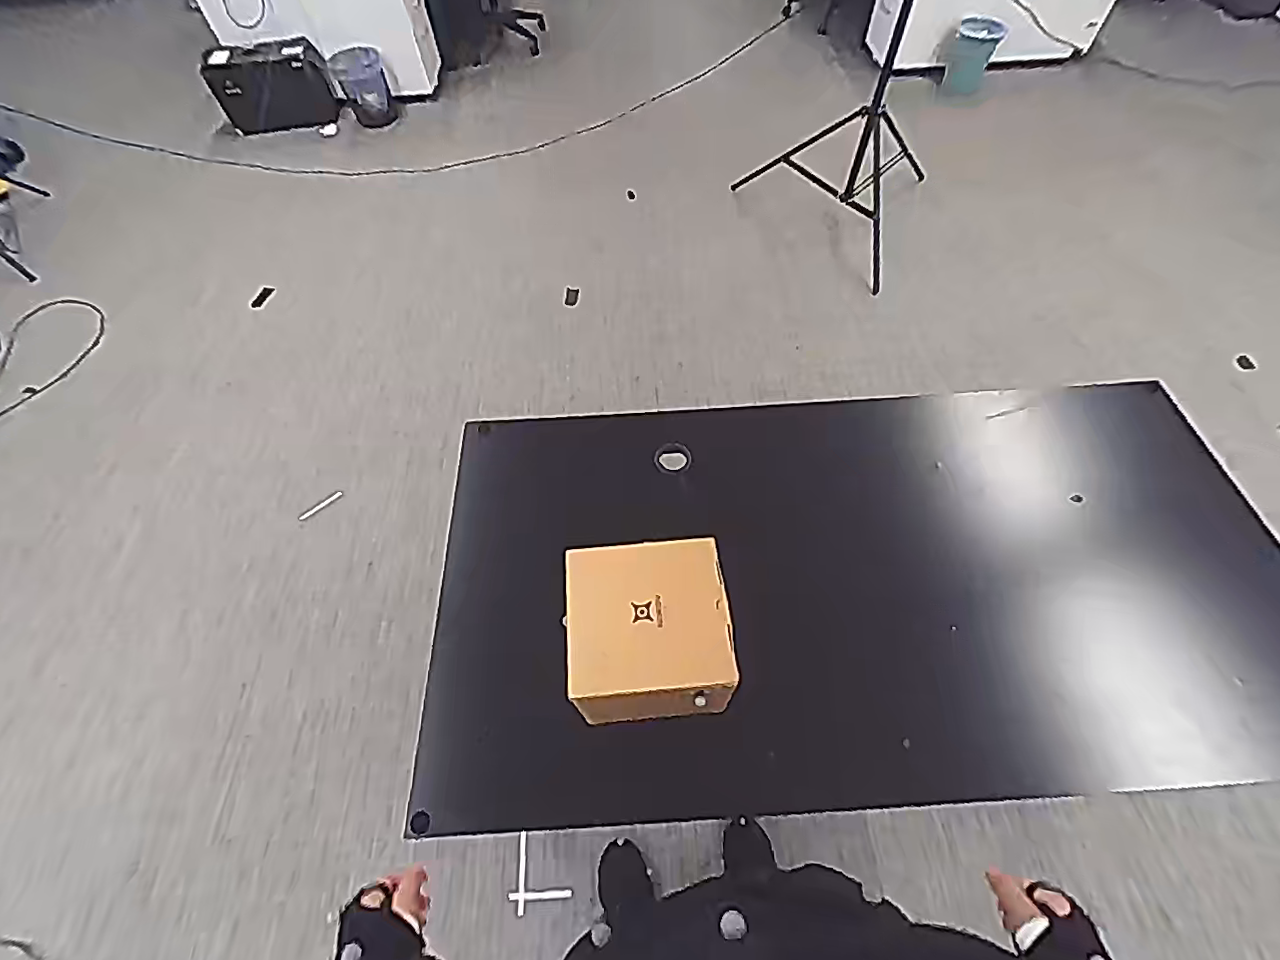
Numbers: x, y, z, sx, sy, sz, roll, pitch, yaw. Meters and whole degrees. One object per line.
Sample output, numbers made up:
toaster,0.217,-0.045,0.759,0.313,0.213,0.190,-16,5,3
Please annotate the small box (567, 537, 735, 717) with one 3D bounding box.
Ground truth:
small box,0.009,0.186,0.665,0.179,0.176,0.168,-5,58,-2
